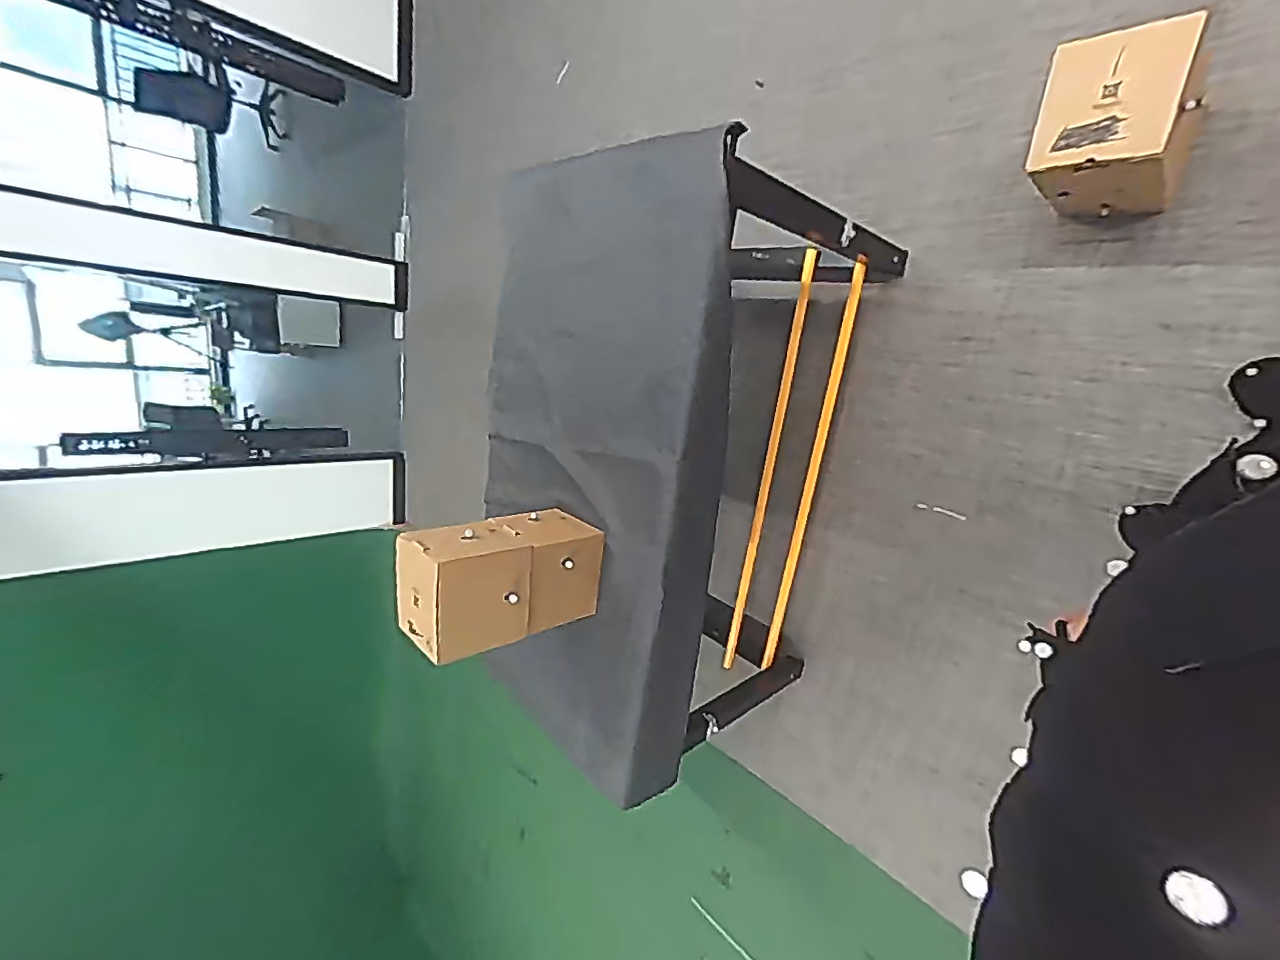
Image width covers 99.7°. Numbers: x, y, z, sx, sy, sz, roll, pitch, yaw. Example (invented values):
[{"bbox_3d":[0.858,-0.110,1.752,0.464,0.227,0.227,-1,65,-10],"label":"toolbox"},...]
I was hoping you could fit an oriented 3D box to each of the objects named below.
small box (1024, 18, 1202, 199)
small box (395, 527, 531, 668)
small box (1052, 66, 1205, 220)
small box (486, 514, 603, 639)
[{"bbox_3d":[0.733,-0.552,0.840,0.168,0.176,0.179,19,107,43],"label":"small box"},{"bbox_3d":[-0.303,0.187,0.930,0.168,0.176,0.179,16,105,45],"label":"small box"},{"bbox_3d":[0.848,-0.577,0.953,0.168,0.176,0.179,23,109,43],"label":"small box"},{"bbox_3d":[-0.189,0.174,1.048,0.168,0.176,0.179,20,109,44],"label":"small box"}]
